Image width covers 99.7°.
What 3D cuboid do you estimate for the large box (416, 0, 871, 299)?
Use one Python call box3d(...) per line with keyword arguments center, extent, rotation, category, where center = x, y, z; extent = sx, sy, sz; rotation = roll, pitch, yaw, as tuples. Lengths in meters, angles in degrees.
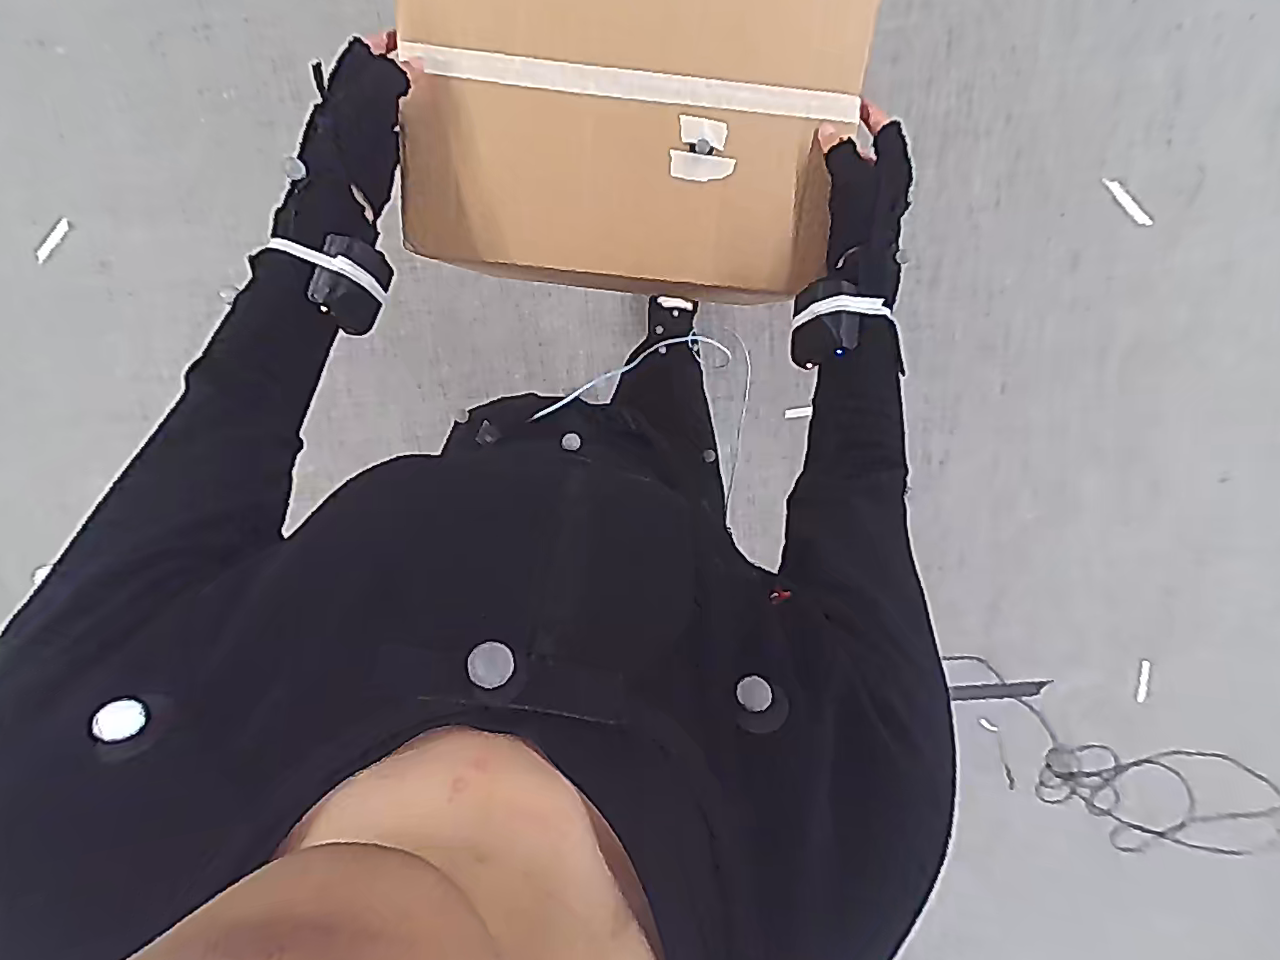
box3d(center=(-0.007, -0.397, 0.632), extent=(0.408, 0.320, 0.320), rotation=(5, 106, -3), category="large box")
